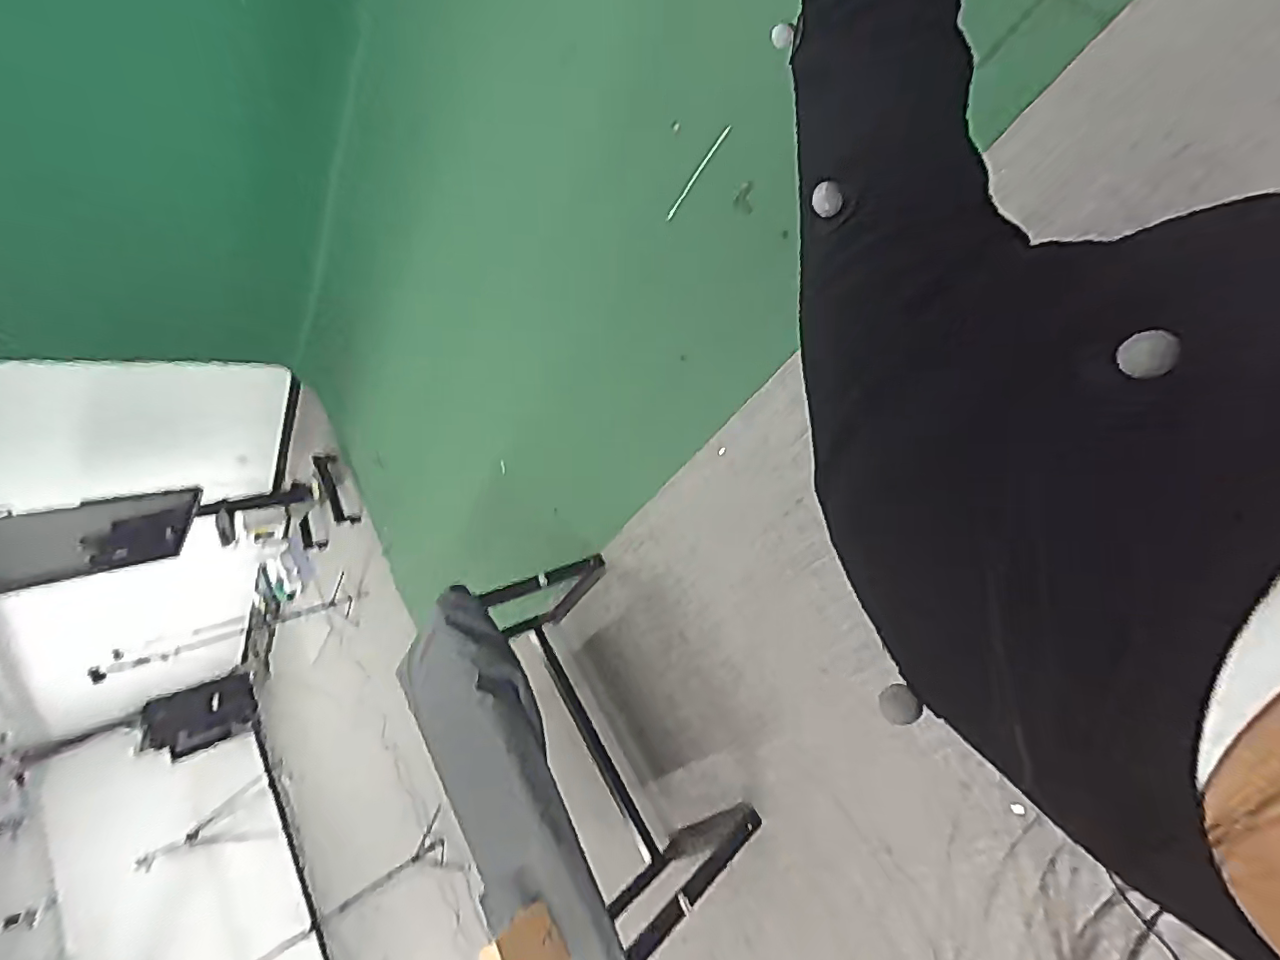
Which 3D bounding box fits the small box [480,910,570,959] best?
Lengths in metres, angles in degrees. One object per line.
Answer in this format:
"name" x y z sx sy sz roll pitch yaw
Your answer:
"small box" -0.326 1.382 1.555 0.179 0.176 0.168 54 130 22
